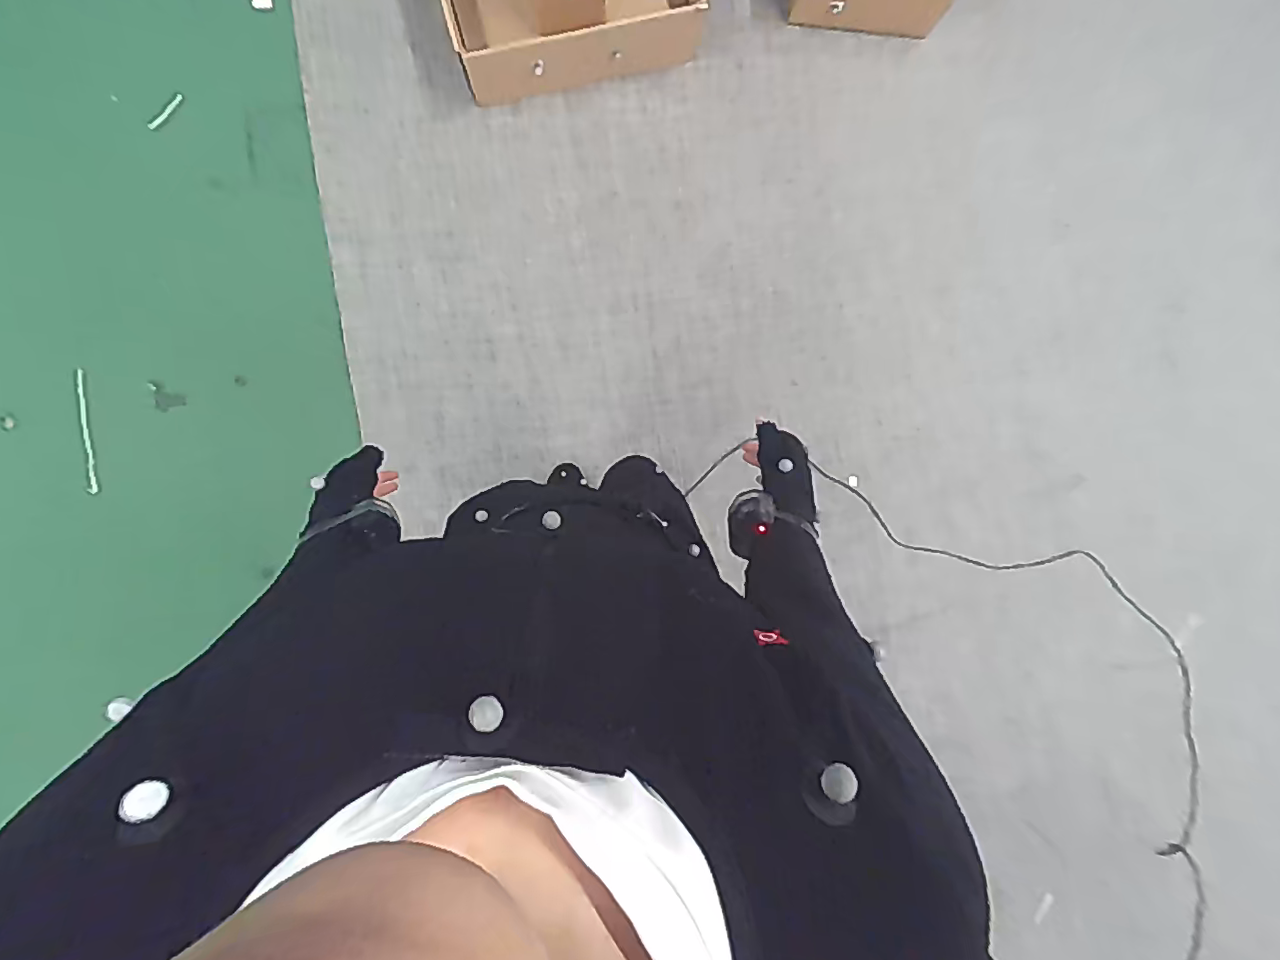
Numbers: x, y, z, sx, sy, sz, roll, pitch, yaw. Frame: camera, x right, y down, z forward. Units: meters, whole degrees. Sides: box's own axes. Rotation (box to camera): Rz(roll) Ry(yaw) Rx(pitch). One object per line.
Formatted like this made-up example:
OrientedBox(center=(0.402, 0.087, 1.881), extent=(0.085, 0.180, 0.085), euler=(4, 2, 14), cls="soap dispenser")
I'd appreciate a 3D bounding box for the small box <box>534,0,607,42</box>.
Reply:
OrientedBox(center=(-0.179, -1.227, 1.329), extent=(0.179, 0.176, 0.168), euler=(-14, 92, -5), cls="small box")
